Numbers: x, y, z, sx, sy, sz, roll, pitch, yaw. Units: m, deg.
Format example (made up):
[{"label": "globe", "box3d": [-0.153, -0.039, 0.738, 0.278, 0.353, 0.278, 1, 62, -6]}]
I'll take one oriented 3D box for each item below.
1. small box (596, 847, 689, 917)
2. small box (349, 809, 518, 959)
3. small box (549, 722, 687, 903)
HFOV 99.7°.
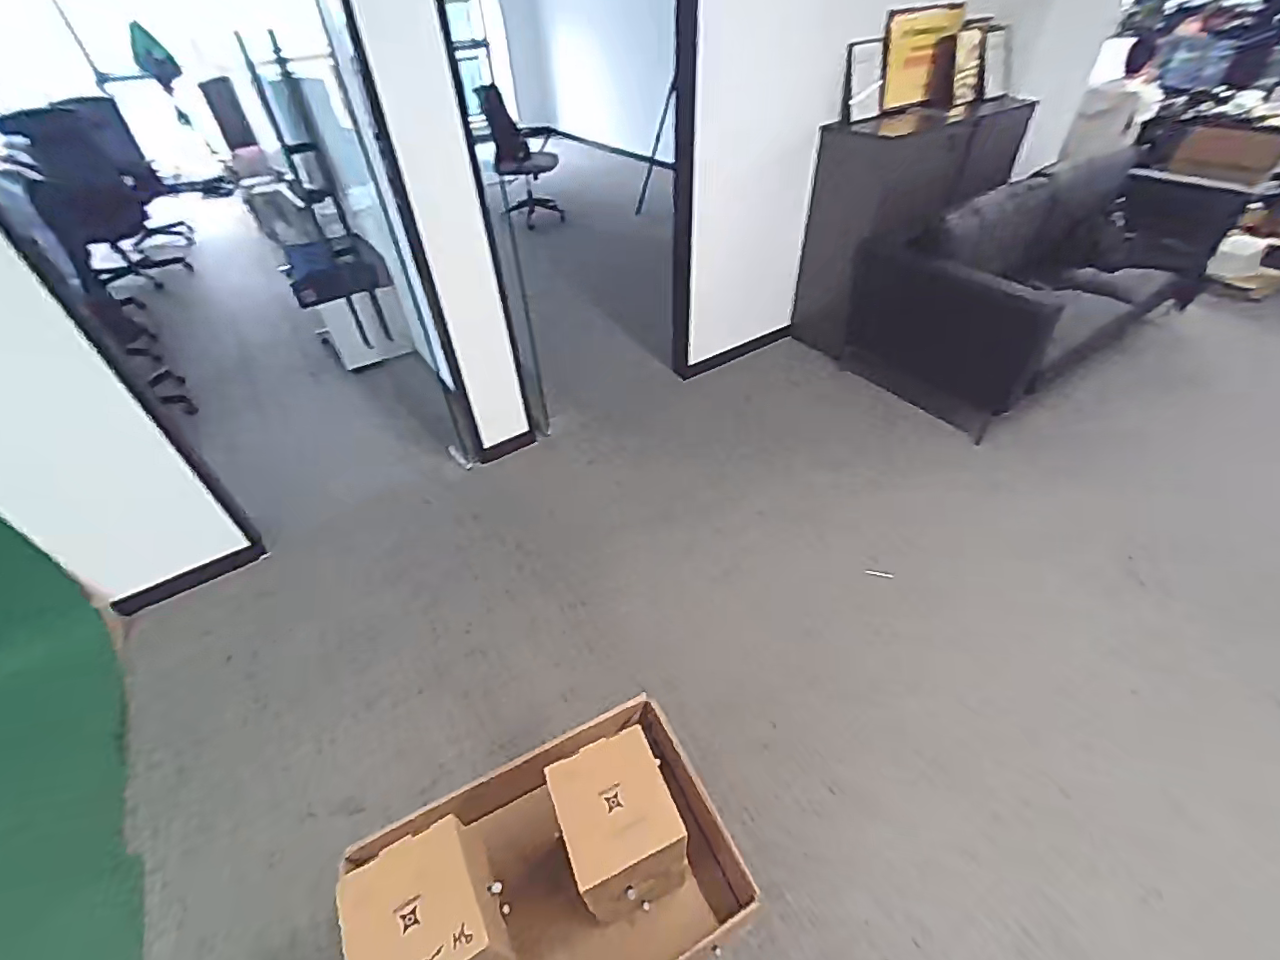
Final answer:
[{"label": "small box", "box3d": [-0.021, 0.651, 0.987, 0.168, 0.176, 0.179, -19, 46, -14]}, {"label": "small box", "box3d": [-0.297, 0.633, 0.790, 0.168, 0.176, 0.179, -24, 47, -18]}, {"label": "small box", "box3d": [-0.035, 0.535, 0.872, 0.168, 0.176, 0.179, -19, 45, -14]}]
